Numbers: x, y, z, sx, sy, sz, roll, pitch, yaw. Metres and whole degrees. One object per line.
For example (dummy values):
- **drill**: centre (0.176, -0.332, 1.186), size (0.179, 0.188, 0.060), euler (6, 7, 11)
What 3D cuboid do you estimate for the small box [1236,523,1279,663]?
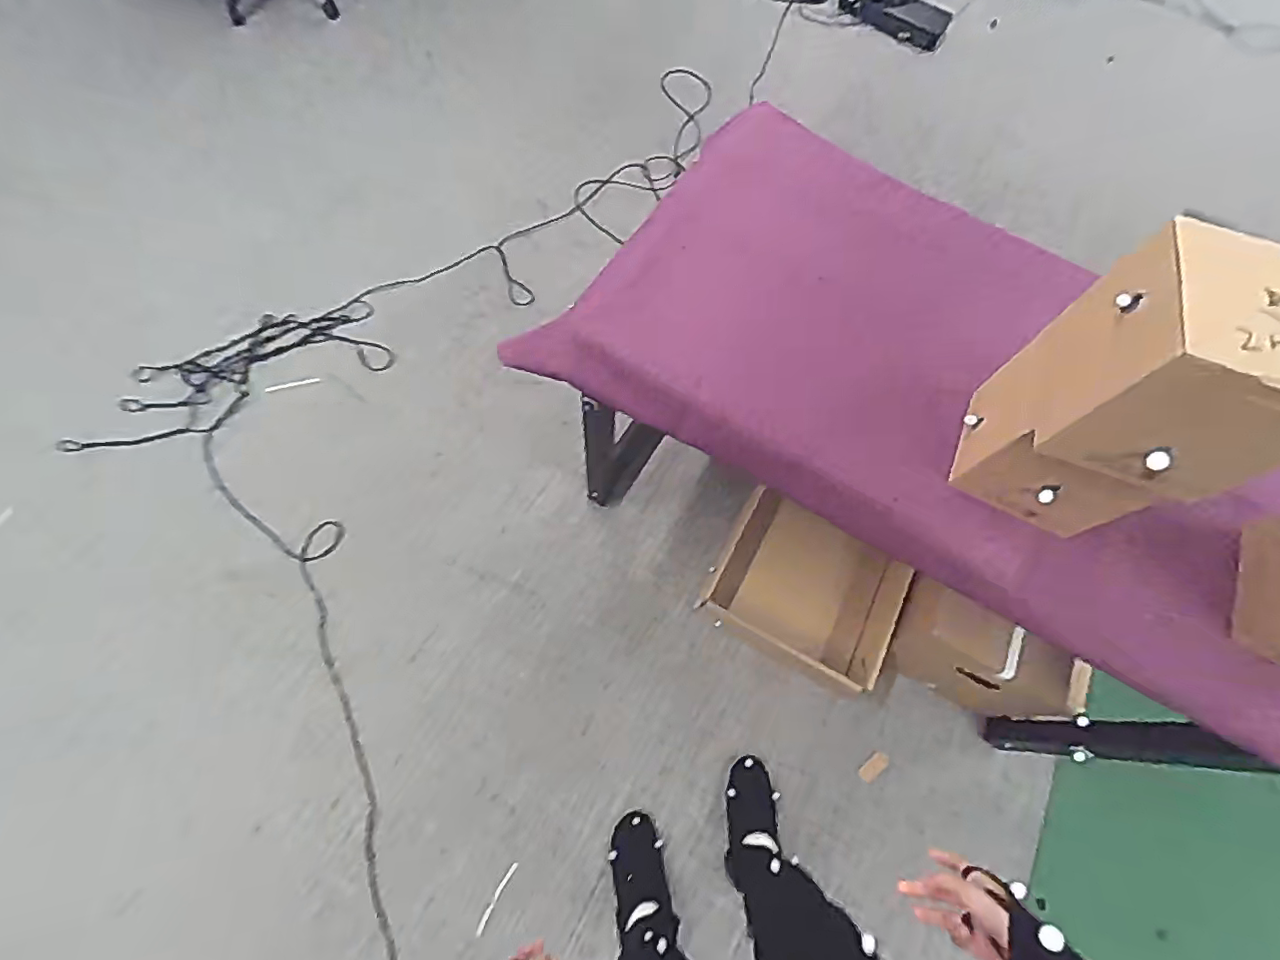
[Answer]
- **small box**: centre (0.856, 0.138, 0.620), size (0.168, 0.176, 0.179), euler (29, 67, 10)

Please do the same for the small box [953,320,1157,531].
- **small box**: centre (0.536, -0.060, 0.689), size (0.168, 0.176, 0.179), euler (26, 67, 8)

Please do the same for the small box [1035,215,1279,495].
- **small box**: centre (0.529, -0.113, 0.531), size (0.168, 0.176, 0.179), euler (20, 66, 6)
